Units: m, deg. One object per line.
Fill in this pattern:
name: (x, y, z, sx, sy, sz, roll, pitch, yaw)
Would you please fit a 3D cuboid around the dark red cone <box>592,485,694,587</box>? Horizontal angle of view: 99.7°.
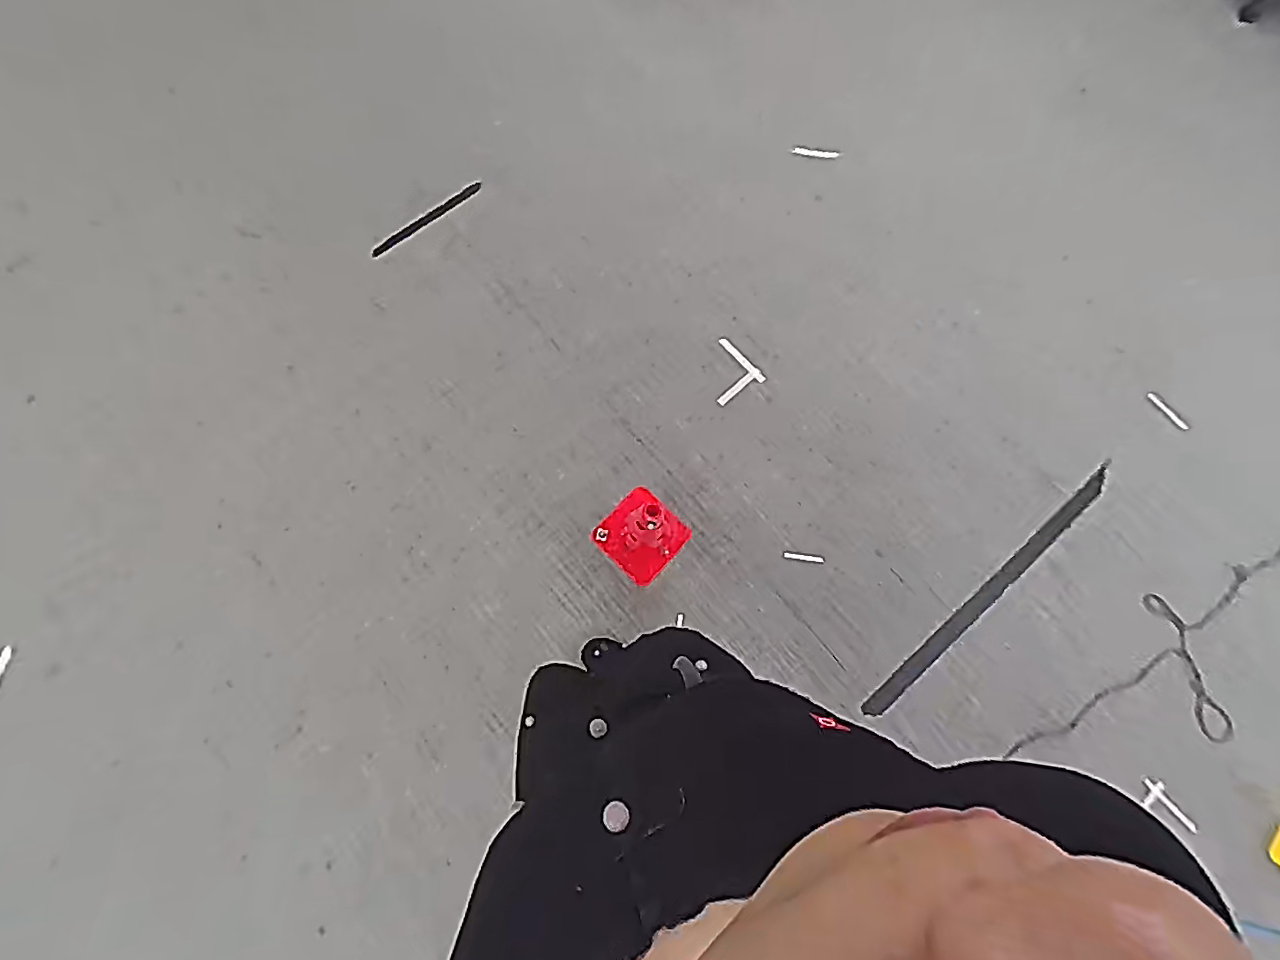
dark red cone: (0.020, 0.102, 1.208, 0.201, 0.394, 0.202, 42, 77, 5)
